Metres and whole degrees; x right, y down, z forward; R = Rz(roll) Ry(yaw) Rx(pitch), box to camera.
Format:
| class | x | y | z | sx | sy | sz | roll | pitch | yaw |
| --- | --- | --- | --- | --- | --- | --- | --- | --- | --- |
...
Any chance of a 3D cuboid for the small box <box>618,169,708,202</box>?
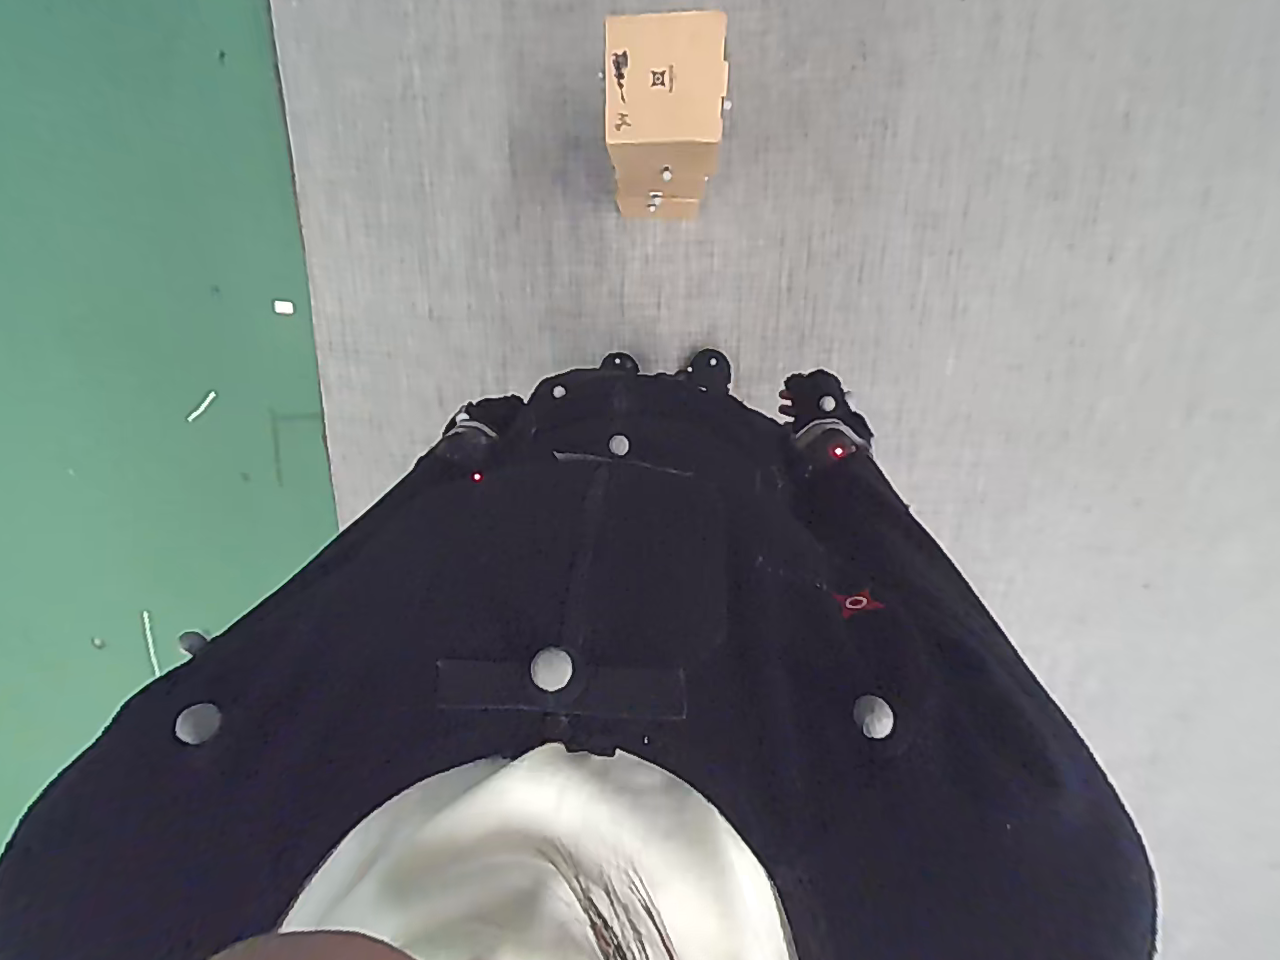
| class | x | y | z | sx | sy | sz | roll | pitch | yaw |
| --- | --- | --- | --- | --- | --- | --- | --- | --- | --- |
| small box | 0.050 | -0.647 | 1.029 | 0.168 | 0.176 | 0.179 | 3 | 105 | 5 |

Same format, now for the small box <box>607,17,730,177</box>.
| class | x | y | z | sx | sy | sz | roll | pitch | yaw |
| --- | --- | --- | --- | --- | --- | --- | --- | --- | --- |
| small box | 0.045 | -0.603 | 0.871 | 0.179 | 0.176 | 0.168 | 2 | 104 | 5 |

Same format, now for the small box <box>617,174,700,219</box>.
| class | x | y | z | sx | sy | sz | roll | pitch | yaw |
| --- | --- | --- | --- | --- | --- | --- | --- | --- | --- |
| small box | 0.049 | -0.682 | 1.187 | 0.179 | 0.176 | 0.168 | 4 | 105 | 3 |
